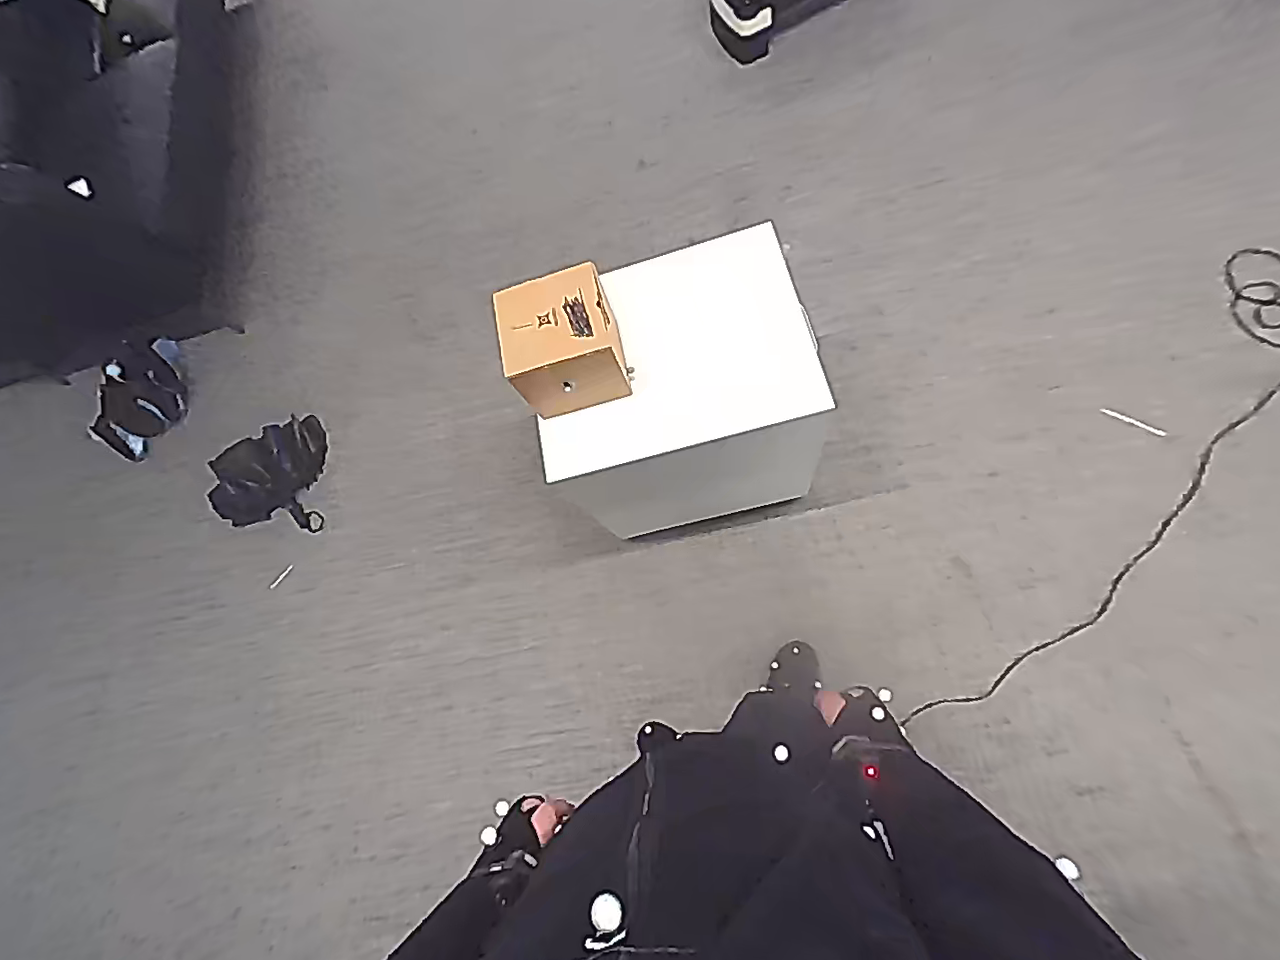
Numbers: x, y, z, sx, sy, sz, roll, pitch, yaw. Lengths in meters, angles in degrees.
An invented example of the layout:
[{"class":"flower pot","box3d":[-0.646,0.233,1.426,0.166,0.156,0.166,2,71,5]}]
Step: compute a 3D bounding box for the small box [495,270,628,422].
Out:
[{"class":"small box","box3d":[-0.125,-0.222,0.931,0.179,0.176,0.168,-15,70,8]}]
